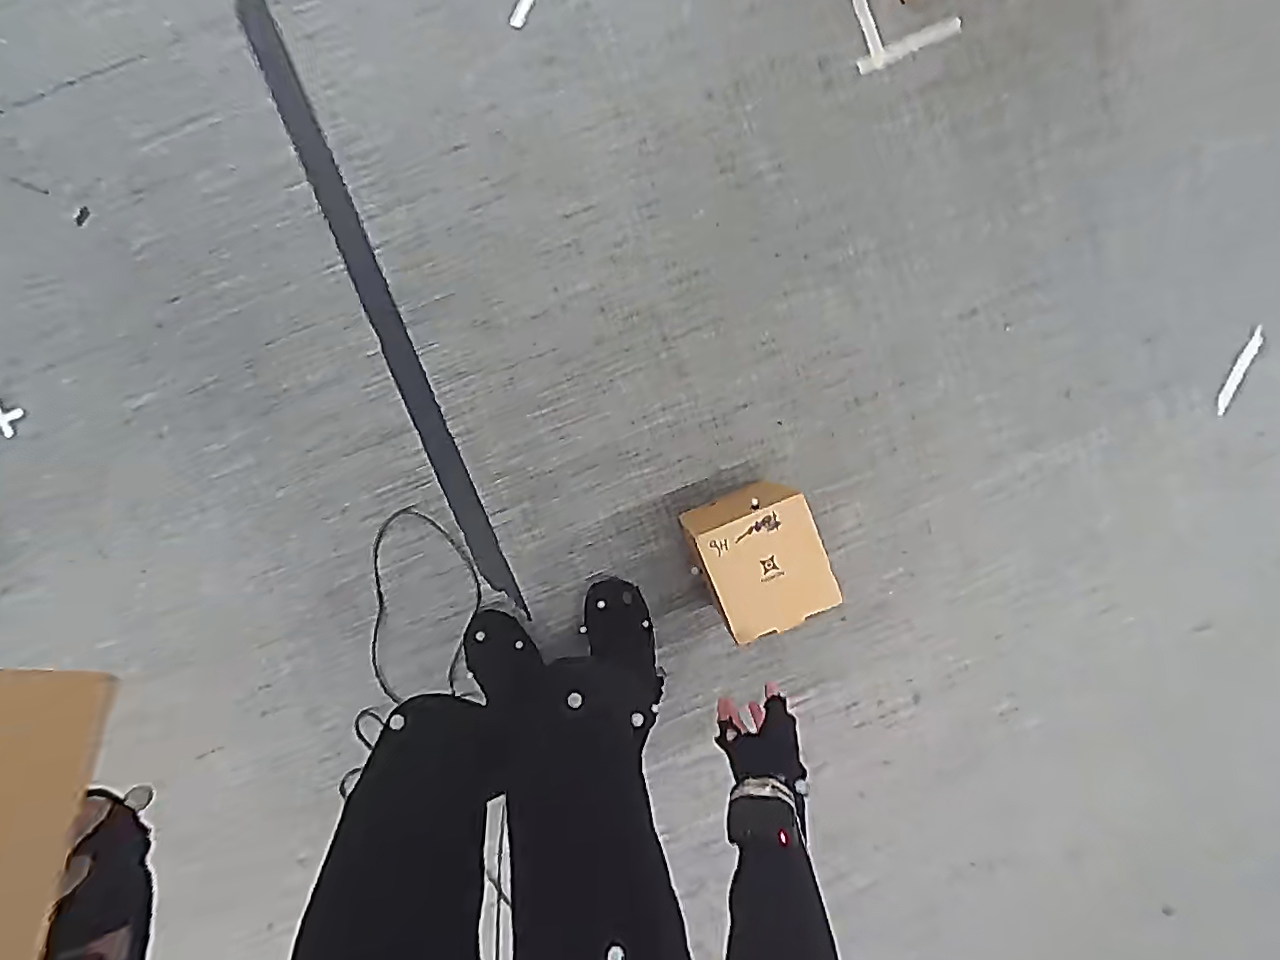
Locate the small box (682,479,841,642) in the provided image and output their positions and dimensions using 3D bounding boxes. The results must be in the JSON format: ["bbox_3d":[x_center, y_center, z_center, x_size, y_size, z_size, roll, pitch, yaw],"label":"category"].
[{"bbox_3d":[0.177,0.113,0.834,0.168,0.176,0.179,-23,98,0],"label":"small box"}]

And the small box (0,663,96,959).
[{"bbox_3d":[-0.333,0.179,0.185,0.179,0.168,0.176,21,112,-42],"label":"small box"}]
